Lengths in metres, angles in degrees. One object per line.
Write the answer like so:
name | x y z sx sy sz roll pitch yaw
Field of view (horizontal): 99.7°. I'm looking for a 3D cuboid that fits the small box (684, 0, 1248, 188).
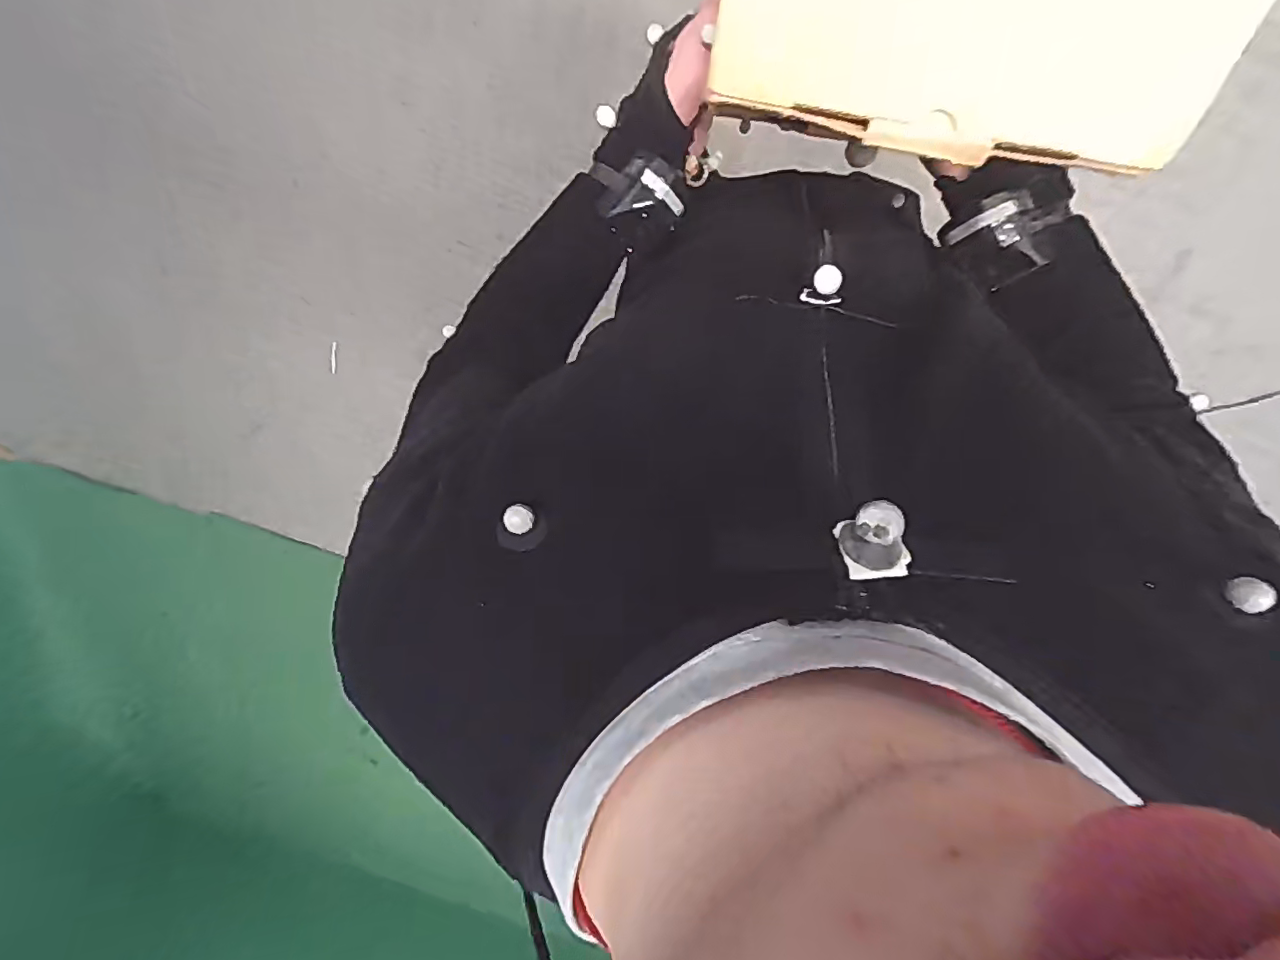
small box | 0.119 -0.236 0.205 0.168 0.176 0.179 11 128 0
